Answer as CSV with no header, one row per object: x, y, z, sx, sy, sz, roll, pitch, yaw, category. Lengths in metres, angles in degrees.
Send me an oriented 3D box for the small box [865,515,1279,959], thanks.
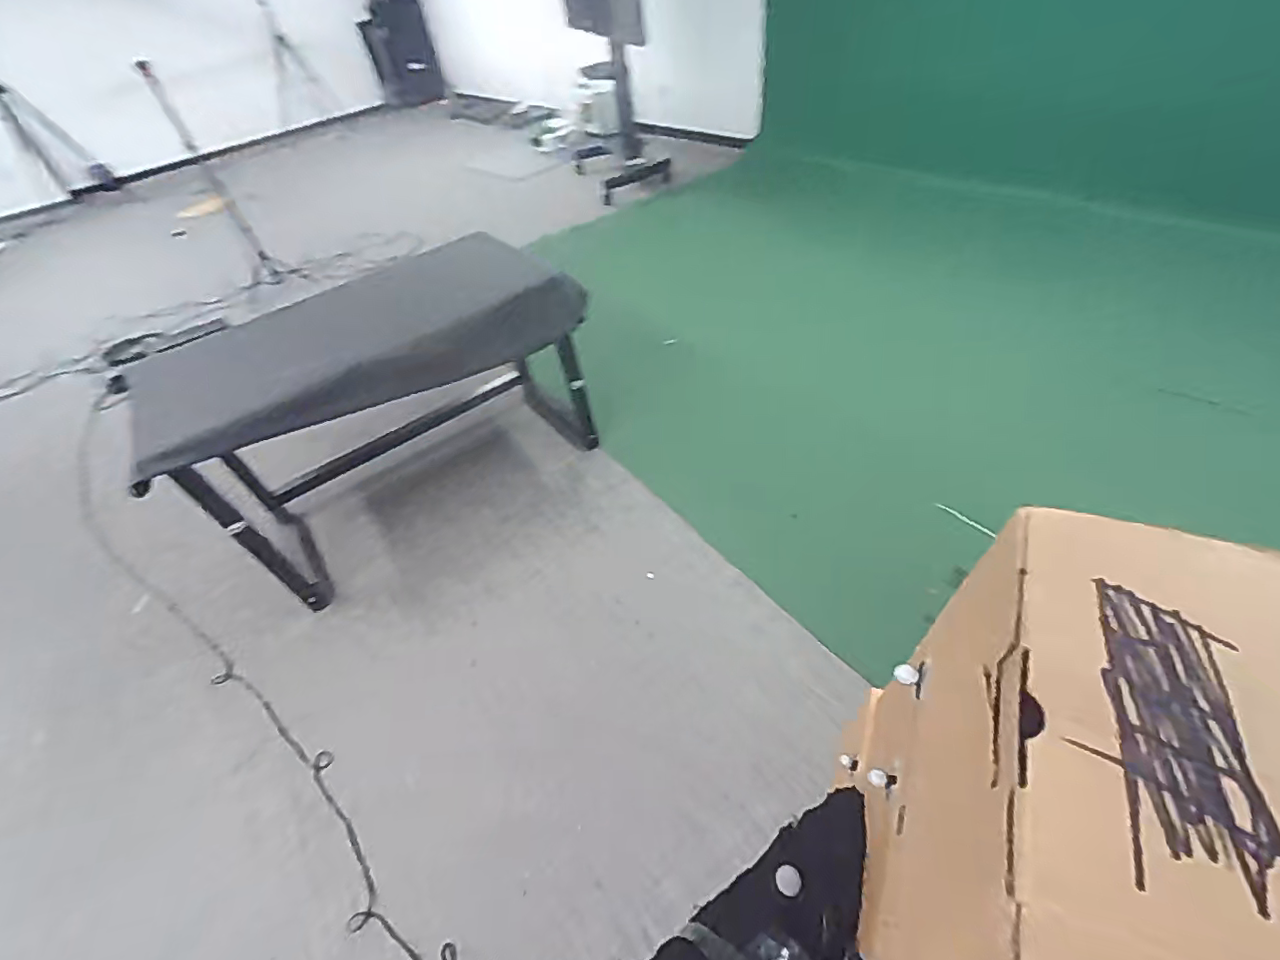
0.207,0.141,0.231,0.179,0.176,0.168,13,59,19,small box

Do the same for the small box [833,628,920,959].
0.230,0.226,0.349,0.168,0.176,0.179,13,59,20,small box
